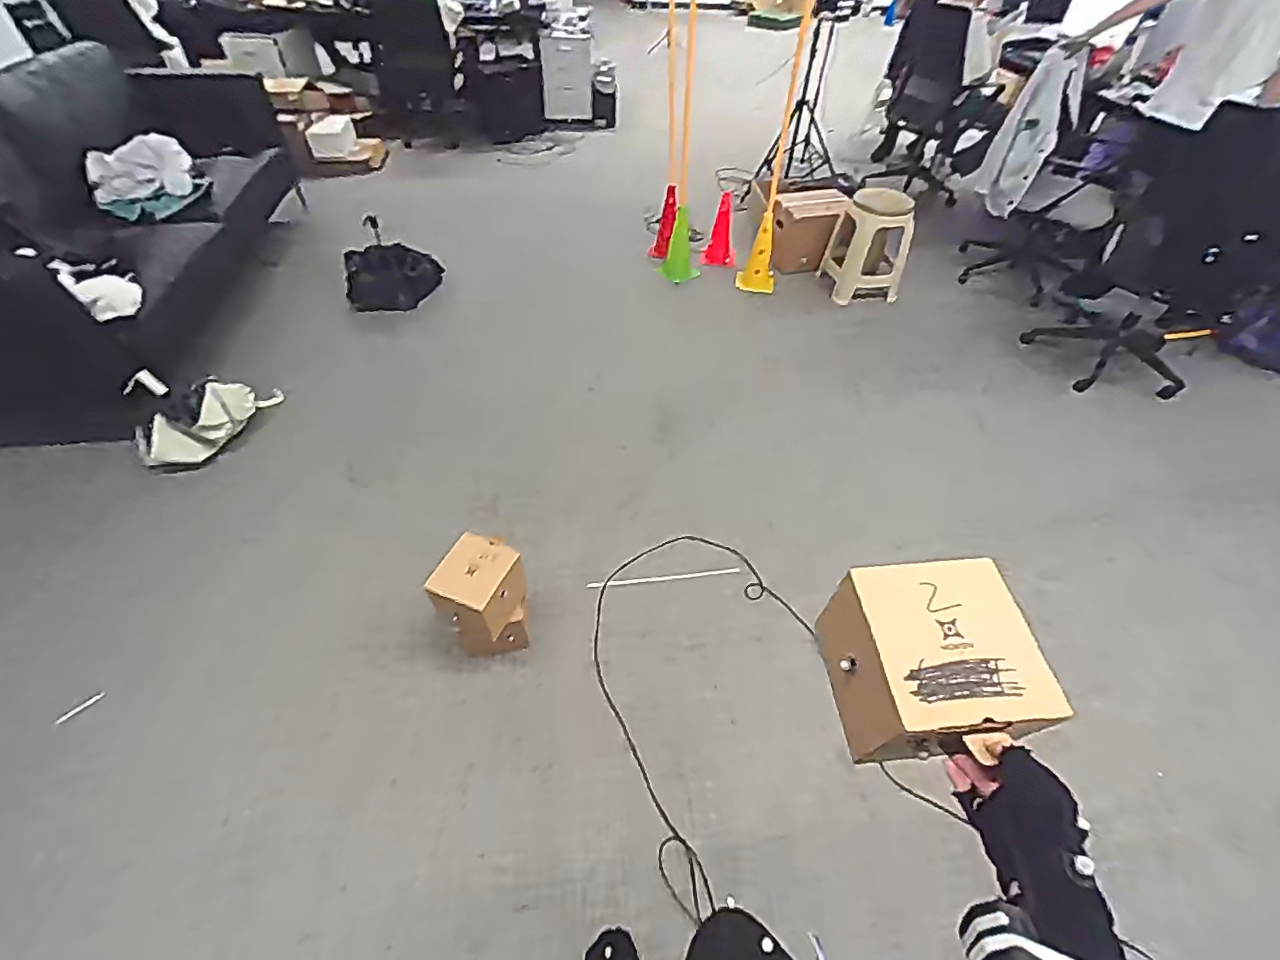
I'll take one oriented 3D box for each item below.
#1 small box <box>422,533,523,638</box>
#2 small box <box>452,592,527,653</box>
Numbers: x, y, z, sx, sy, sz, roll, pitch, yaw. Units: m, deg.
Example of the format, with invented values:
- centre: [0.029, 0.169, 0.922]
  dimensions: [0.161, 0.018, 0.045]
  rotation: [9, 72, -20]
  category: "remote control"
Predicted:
- centre: [-0.412, 0.272, 1.371]
  dimensions: [0.168, 0.176, 0.179]
  rotation: [18, 50, 13]
  category: "small box"
- centre: [-0.412, 0.357, 1.493]
  dimensions: [0.179, 0.176, 0.168]
  rotation: [-9, 49, -9]
  category: "small box"
